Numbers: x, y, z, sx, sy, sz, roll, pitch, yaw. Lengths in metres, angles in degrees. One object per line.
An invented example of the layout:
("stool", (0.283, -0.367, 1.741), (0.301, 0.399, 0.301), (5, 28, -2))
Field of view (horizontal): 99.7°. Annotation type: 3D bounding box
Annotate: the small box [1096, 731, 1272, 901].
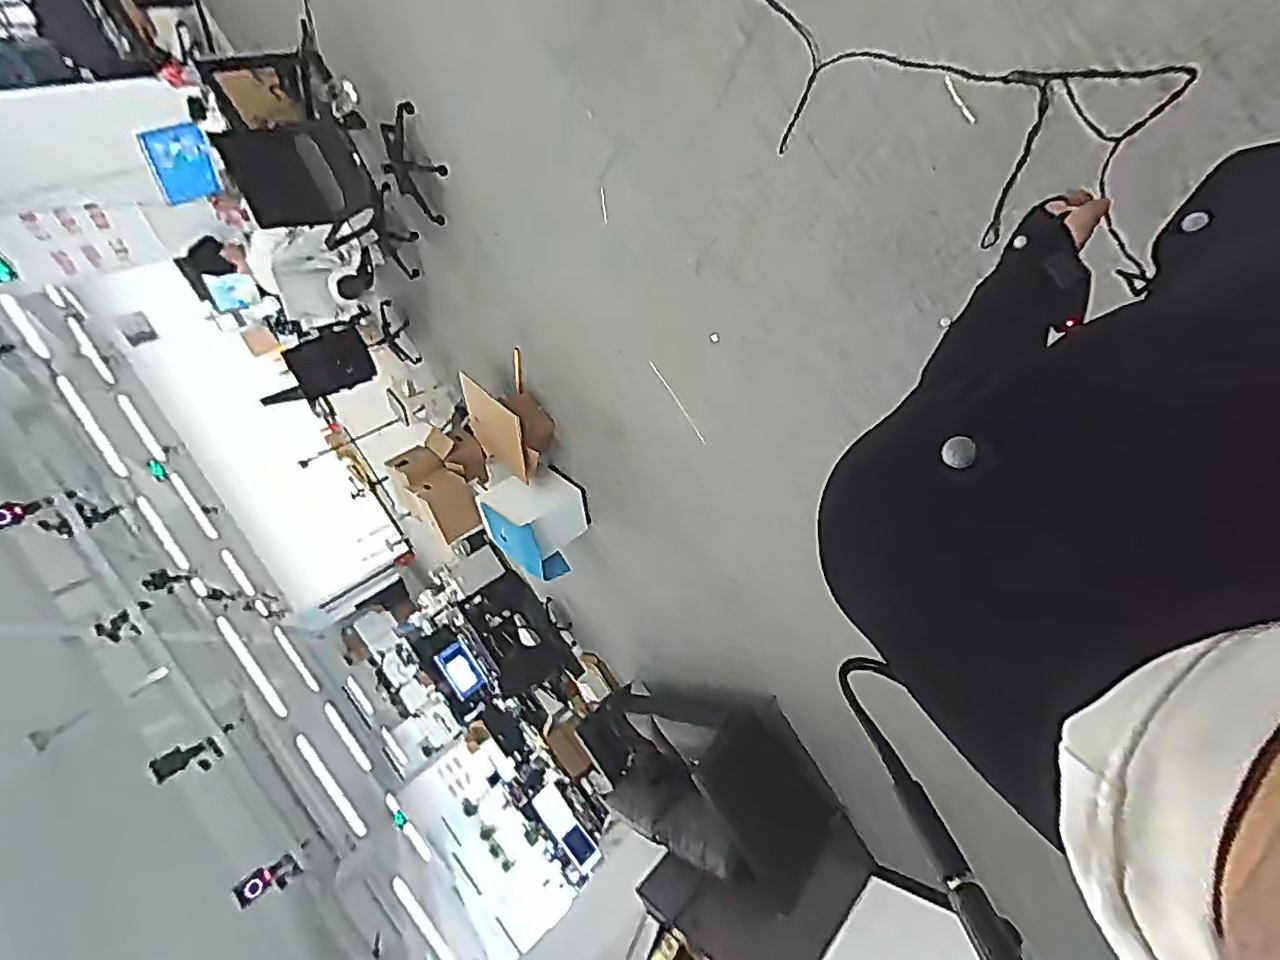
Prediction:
("small box", (0.982, 0.589, 0.978), (0.179, 0.176, 0.168), (59, 150, -2))
